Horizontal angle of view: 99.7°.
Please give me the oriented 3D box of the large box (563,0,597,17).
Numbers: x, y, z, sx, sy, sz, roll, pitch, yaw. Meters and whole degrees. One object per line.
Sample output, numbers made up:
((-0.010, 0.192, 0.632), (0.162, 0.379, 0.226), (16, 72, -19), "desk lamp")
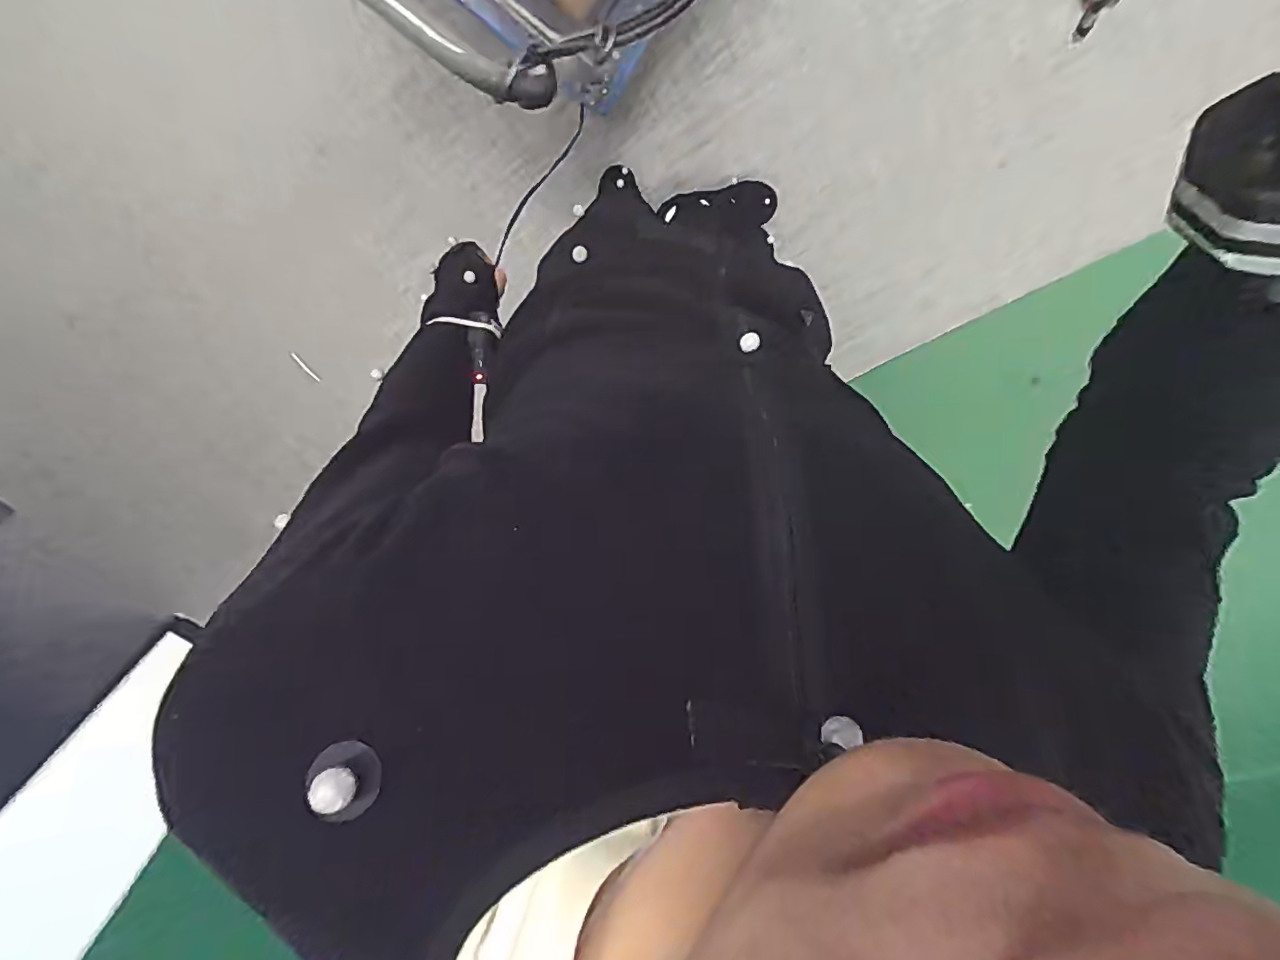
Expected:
((-0.120, -0.992, 0.760), (0.320, 0.320, 0.408), (31, 120, -18), "large box")
